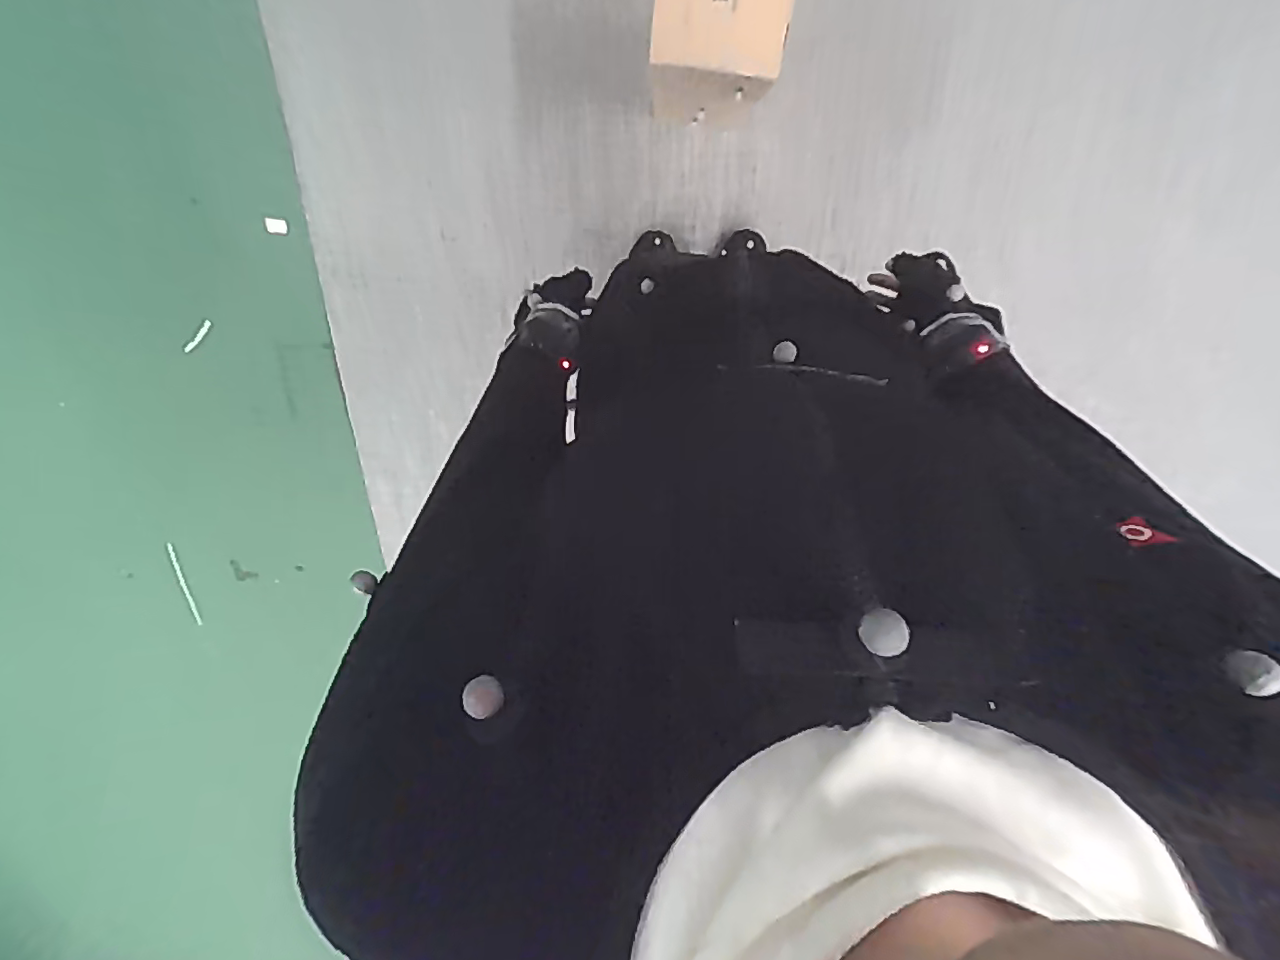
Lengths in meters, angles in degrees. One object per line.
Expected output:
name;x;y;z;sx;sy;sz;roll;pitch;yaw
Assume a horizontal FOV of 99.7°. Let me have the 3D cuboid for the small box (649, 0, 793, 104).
small box;0.109;-0.640;0.750;0.179;0.176;0.168;7;115;1
